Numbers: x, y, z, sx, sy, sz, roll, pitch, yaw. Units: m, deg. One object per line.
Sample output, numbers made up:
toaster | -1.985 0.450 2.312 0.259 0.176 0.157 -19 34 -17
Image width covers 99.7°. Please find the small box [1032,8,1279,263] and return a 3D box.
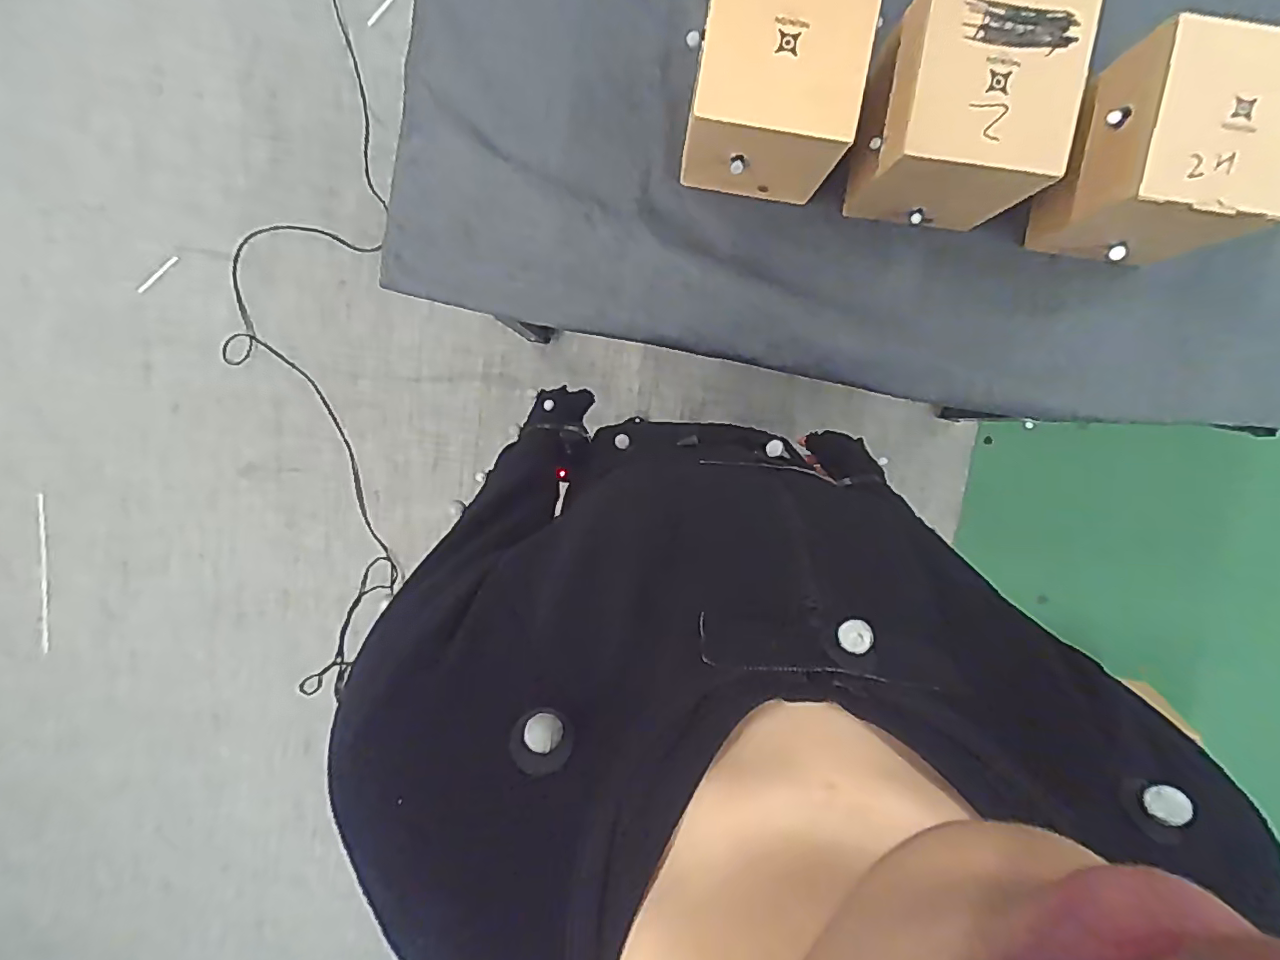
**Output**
small box | 0.591 -0.368 0.612 0.168 0.176 0.179 8 96 0
